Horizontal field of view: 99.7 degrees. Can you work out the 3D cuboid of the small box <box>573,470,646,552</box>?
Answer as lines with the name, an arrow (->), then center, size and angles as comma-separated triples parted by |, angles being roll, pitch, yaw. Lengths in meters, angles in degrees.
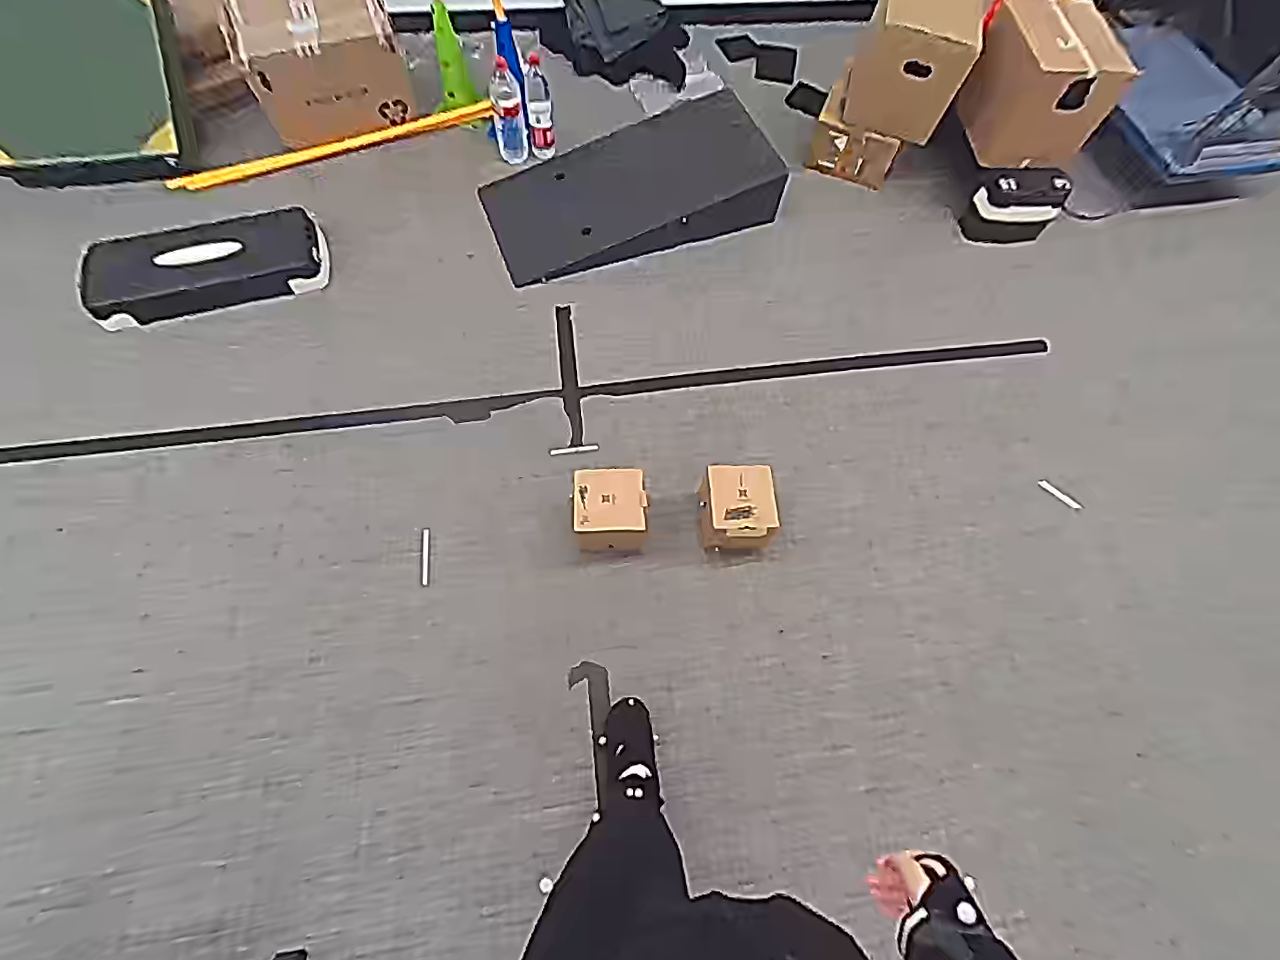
small box -> -0.082, 0.084, 1.400 | 0.179, 0.176, 0.168 | 0, 66, -5

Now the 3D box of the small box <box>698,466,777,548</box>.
small box -> 0.250, 0.077, 1.425 | 0.168, 0.176, 0.179 | 0, 65, -4
